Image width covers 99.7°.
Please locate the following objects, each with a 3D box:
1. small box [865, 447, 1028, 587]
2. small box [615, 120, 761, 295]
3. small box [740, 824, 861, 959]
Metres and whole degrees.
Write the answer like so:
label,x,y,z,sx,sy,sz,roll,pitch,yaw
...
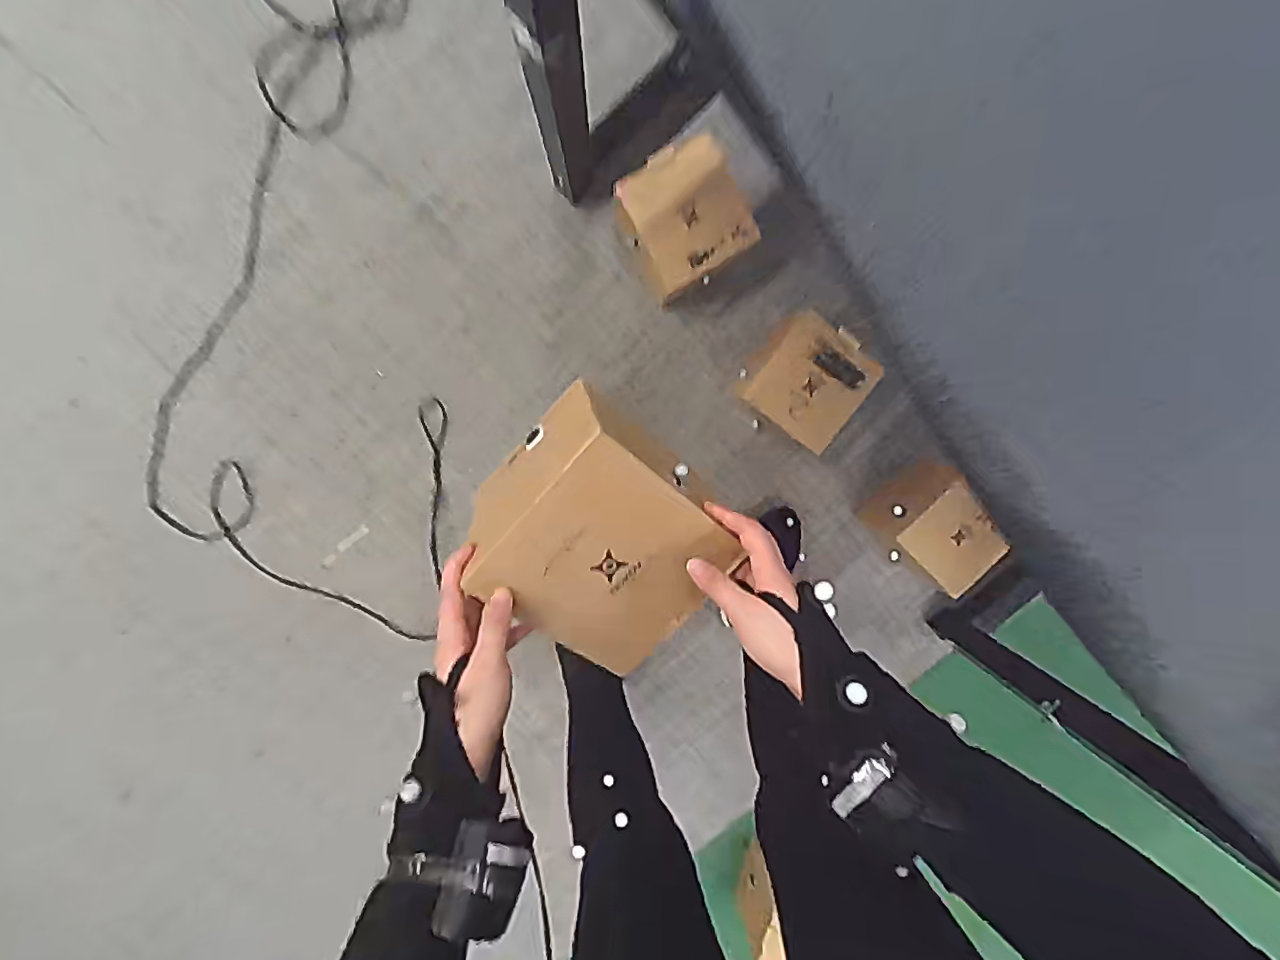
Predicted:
label,x,y,z,sx,sy,sz,roll,pitch,yaw
small box,0.548,0.060,1.001,0.168,0.176,0.179,42,96,-10
small box,0.068,-0.430,0.886,0.168,0.176,0.179,-30,100,3
small box,0.330,0.869,1.144,0.179,0.176,0.168,12,100,-5
